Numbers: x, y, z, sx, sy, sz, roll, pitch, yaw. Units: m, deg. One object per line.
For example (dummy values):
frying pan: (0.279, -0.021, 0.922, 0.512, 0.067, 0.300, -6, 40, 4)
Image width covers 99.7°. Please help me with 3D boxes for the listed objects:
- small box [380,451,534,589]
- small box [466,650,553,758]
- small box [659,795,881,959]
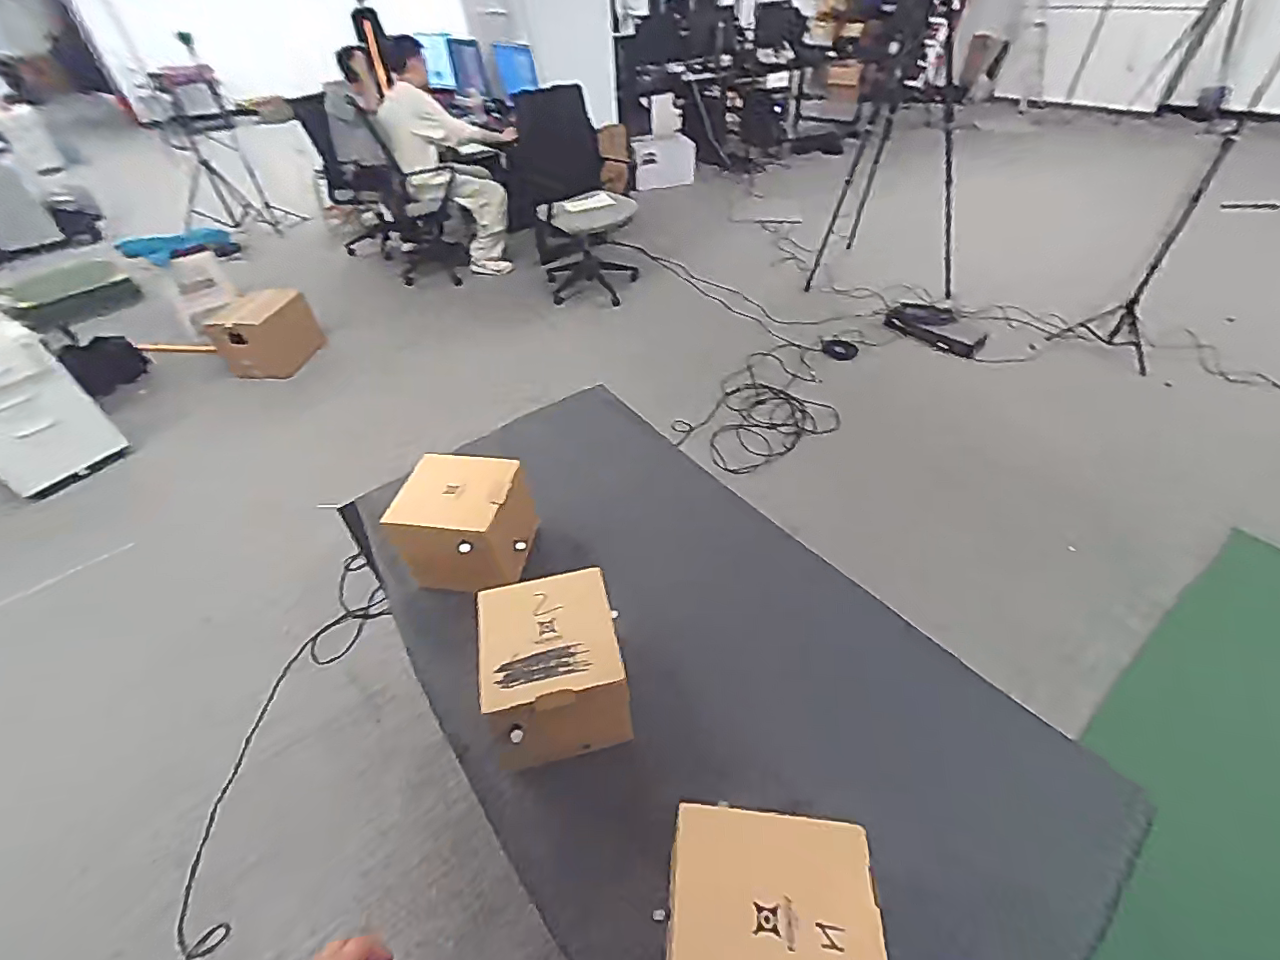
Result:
small box: (-0.297, 0.069, 0.921, 0.179, 0.176, 0.168, 4, 43, 8)
small box: (-0.343, 0.592, 1.430, 0.168, 0.176, 0.179, -21, 44, -17)
small box: (0.108, 0.421, 0.502, 0.179, 0.176, 0.168, 5, 43, 5)
